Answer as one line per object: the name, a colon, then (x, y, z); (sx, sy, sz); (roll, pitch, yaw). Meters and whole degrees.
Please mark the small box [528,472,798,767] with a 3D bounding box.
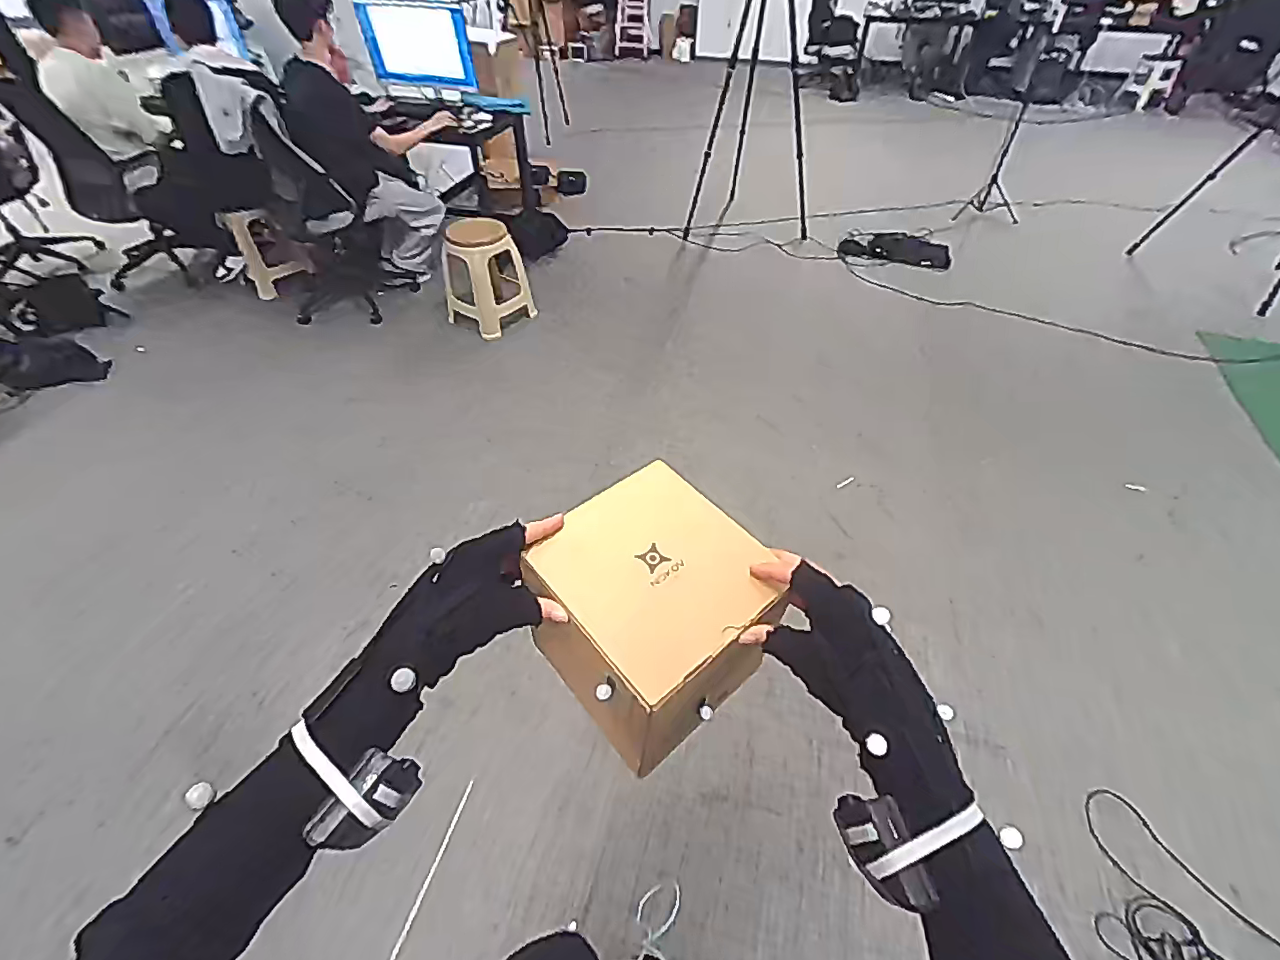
small box: (0.010, 0.130, 0.512); (0.168, 0.176, 0.179); (-29, 57, -29)
